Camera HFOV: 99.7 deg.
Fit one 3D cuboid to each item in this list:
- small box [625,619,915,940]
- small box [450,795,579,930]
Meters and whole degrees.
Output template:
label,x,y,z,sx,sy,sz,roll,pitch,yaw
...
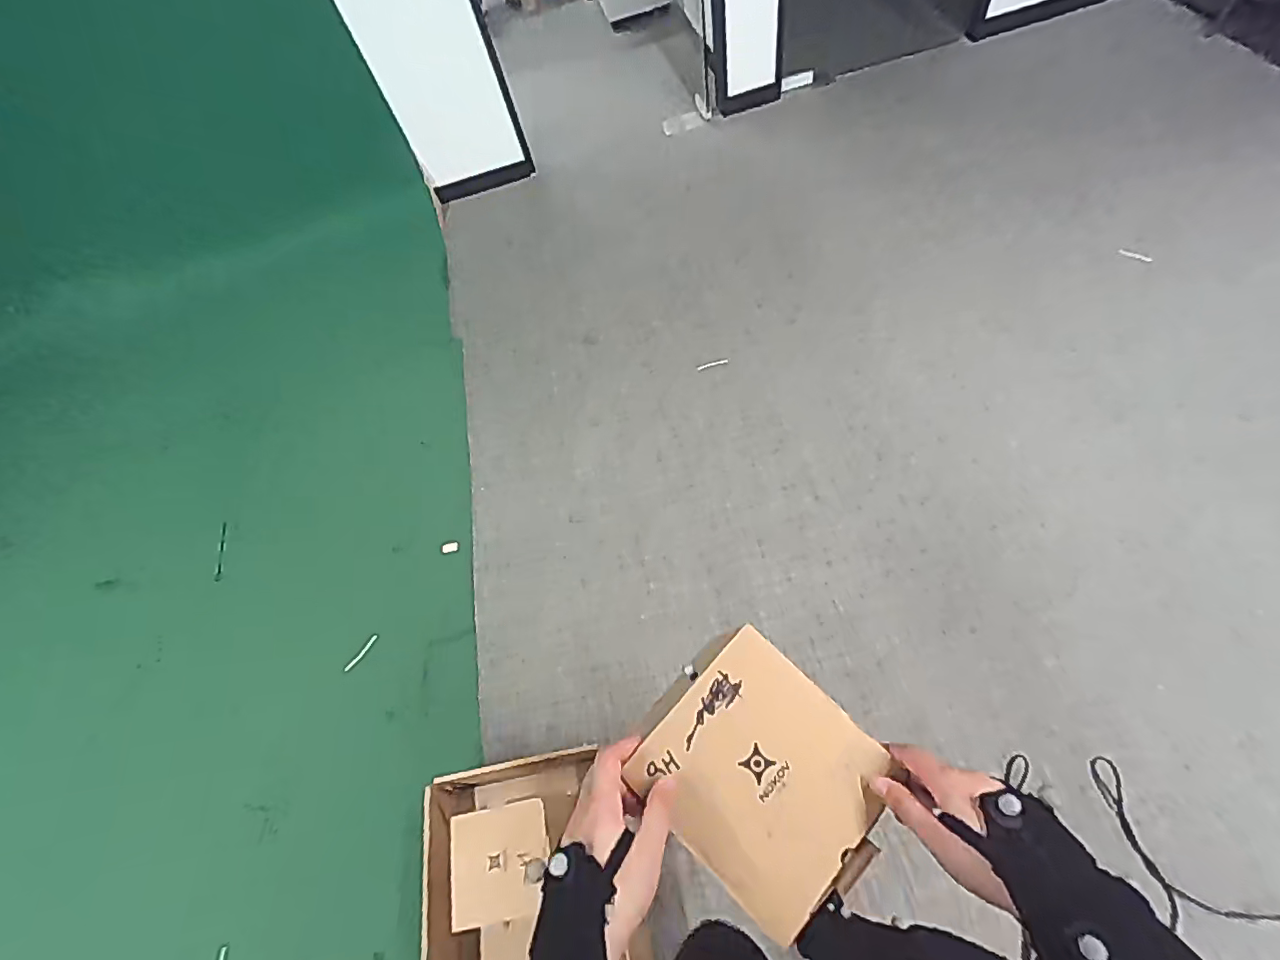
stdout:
label,x,y,z,sx,sy,sz,roll,pitch,yaw
small box,0.103,0.252,0.507,0.179,0.176,0.168,43,75,11
small box,-0.222,0.678,0.976,0.179,0.176,0.168,-13,60,2
